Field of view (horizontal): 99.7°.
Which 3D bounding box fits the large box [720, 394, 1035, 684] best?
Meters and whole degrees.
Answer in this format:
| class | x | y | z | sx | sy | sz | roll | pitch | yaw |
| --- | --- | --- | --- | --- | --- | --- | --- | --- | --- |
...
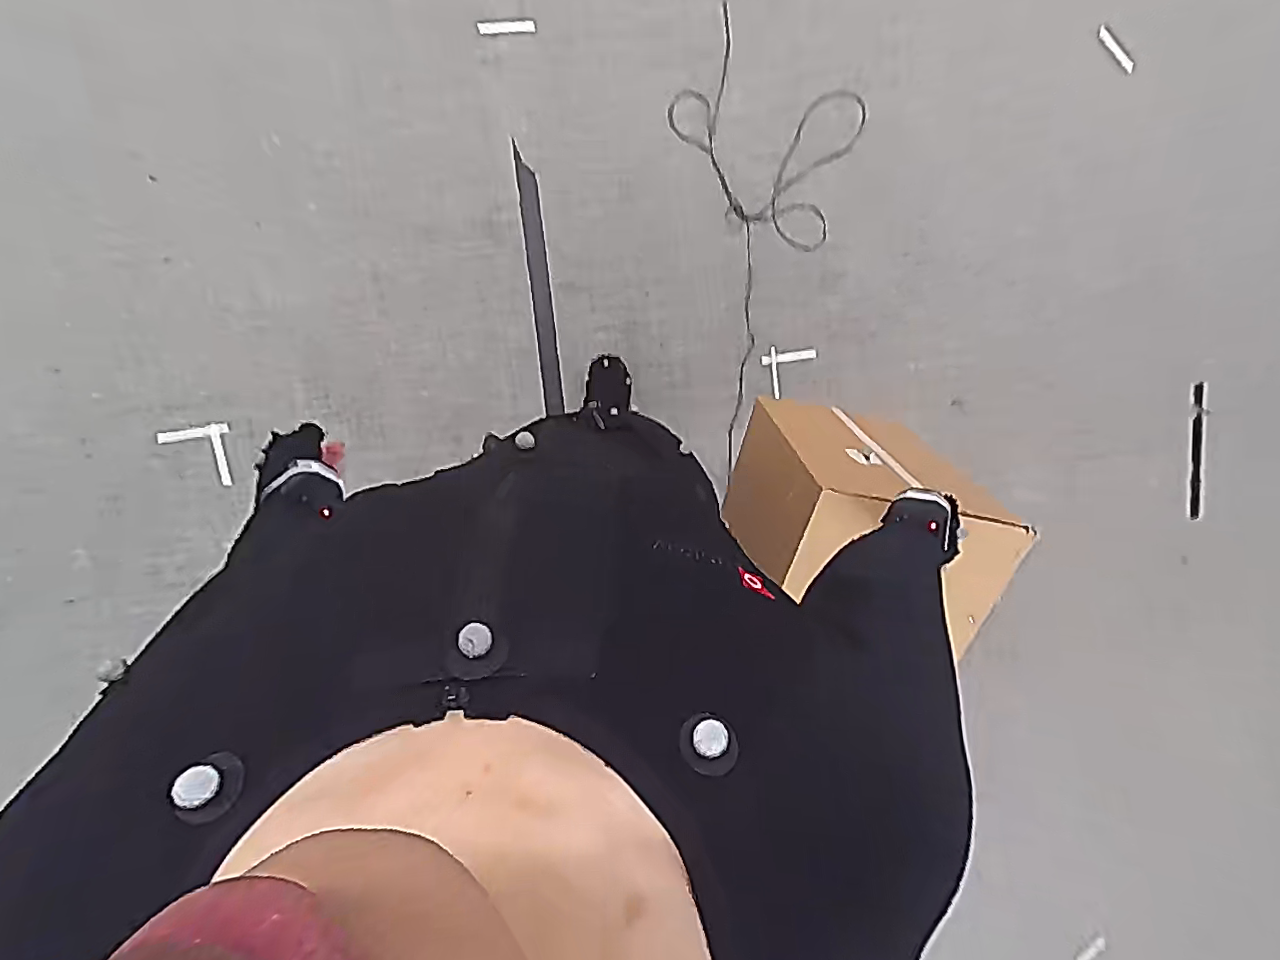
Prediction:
| class | x | y | z | sx | sy | sz | roll | pitch | yaw |
| --- | --- | --- | --- | --- | --- | --- | --- | --- | --- |
| large box | 0.356 | 0.082 | 0.962 | 0.320 | 0.408 | 0.320 | 11 | 117 | -6 |
